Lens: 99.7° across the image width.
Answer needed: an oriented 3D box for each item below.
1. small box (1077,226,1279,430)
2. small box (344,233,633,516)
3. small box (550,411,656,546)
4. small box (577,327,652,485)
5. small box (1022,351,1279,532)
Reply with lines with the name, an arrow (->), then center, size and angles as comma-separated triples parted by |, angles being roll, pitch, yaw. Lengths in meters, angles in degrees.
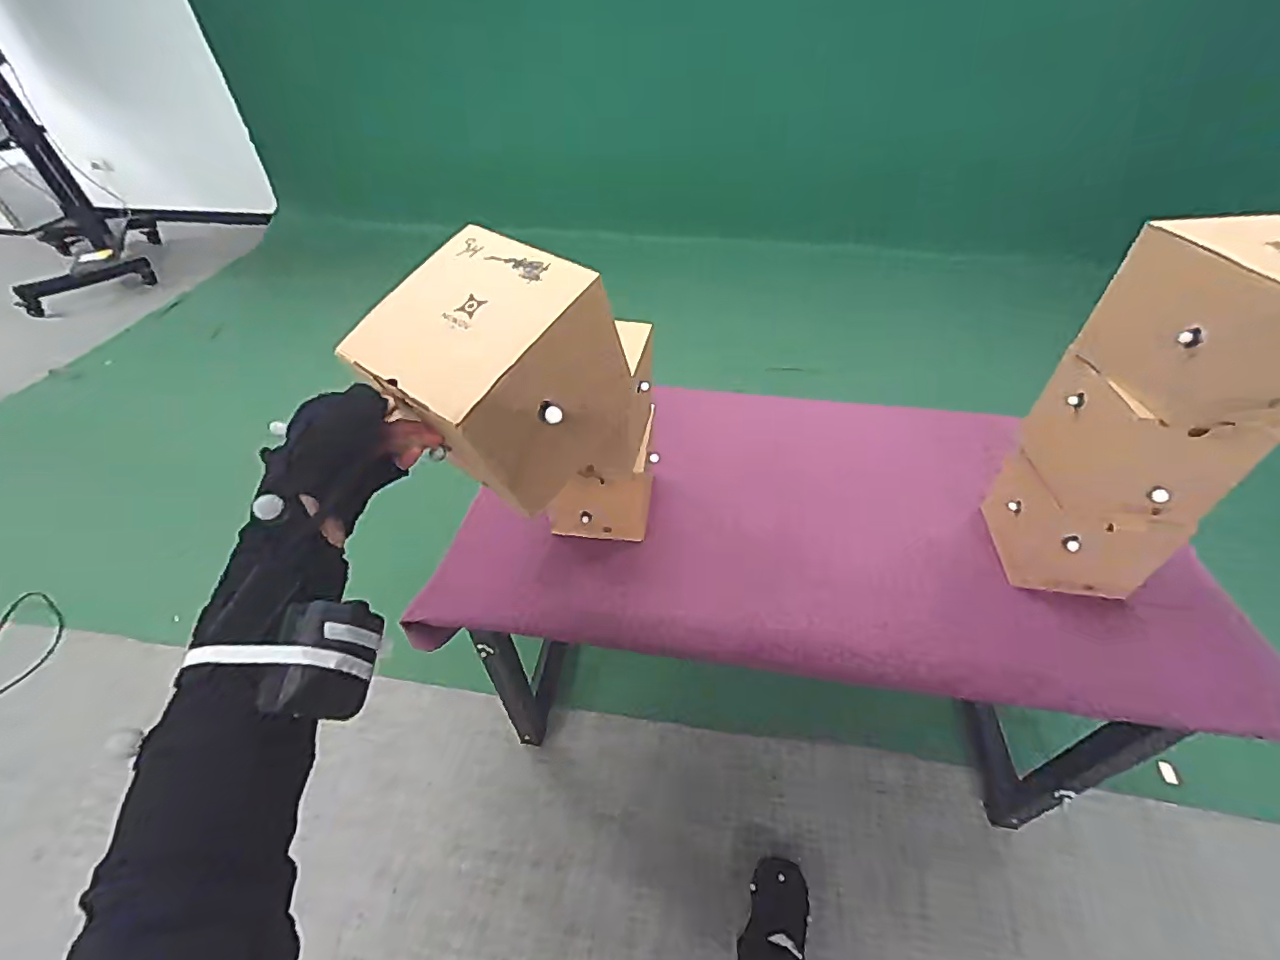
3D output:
small box -> 0.669, -0.169, 0.617 | 0.168, 0.176, 0.179 | -4, 44, -3
small box -> -0.127, -0.093, 0.521 | 0.168, 0.176, 0.179 | 32, 74, 25
small box -> -0.064, -0.010, 0.941 | 0.168, 0.176, 0.179 | 5, 47, 5
small box -> -0.077, -0.114, 0.814 | 0.168, 0.176, 0.179 | 9, 46, 8
small box -> 0.665, -0.053, 0.732 | 0.168, 0.176, 0.179 | 3, 45, 5
